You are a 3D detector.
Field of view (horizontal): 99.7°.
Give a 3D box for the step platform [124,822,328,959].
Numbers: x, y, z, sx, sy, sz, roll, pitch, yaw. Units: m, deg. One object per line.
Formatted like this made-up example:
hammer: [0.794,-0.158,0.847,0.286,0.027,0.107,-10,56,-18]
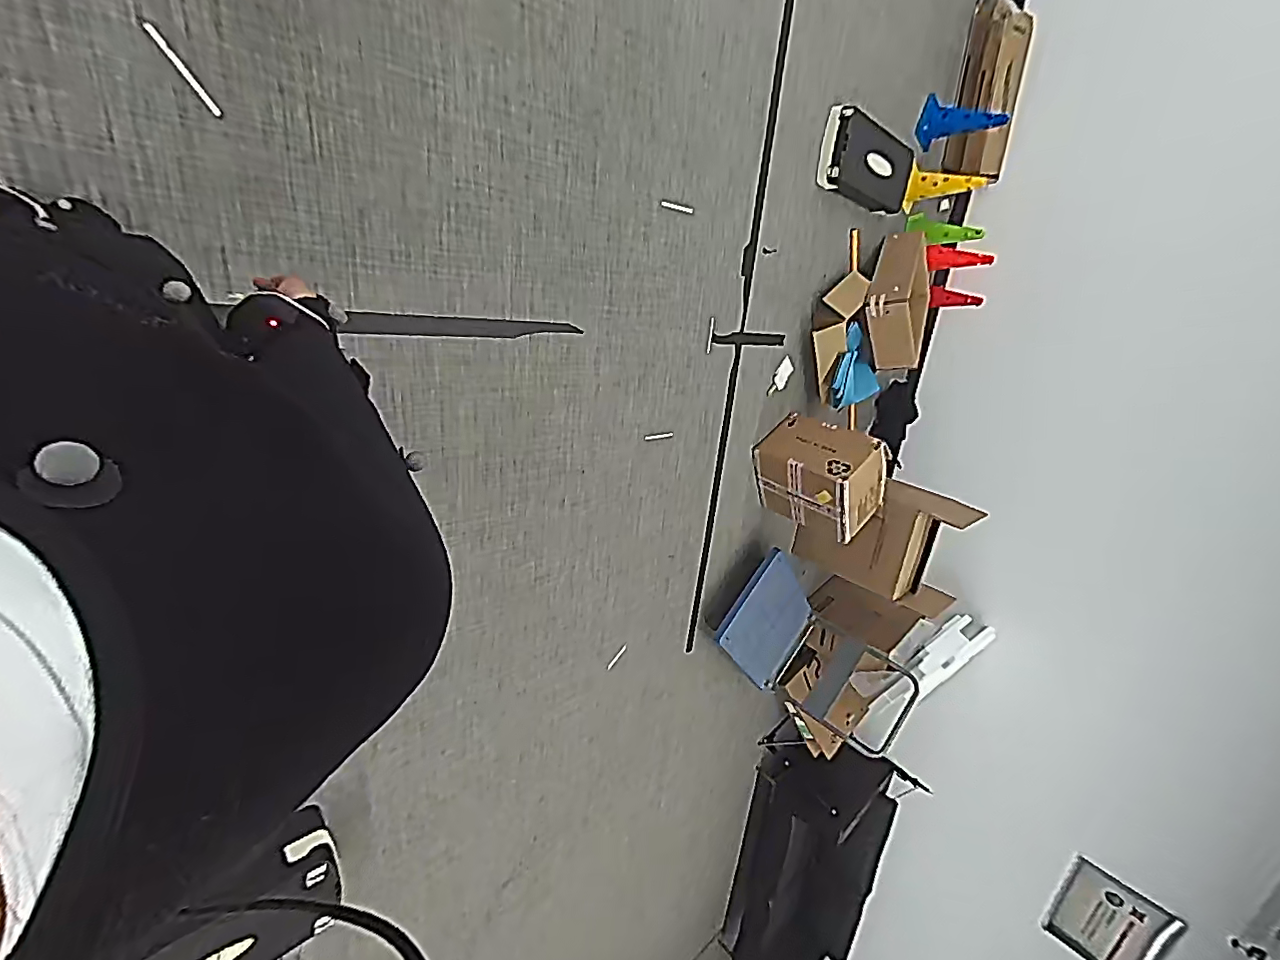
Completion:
step platform: [-1.169,1.190,1.340,0.684,0.204,0.286,-14,119,-43]
